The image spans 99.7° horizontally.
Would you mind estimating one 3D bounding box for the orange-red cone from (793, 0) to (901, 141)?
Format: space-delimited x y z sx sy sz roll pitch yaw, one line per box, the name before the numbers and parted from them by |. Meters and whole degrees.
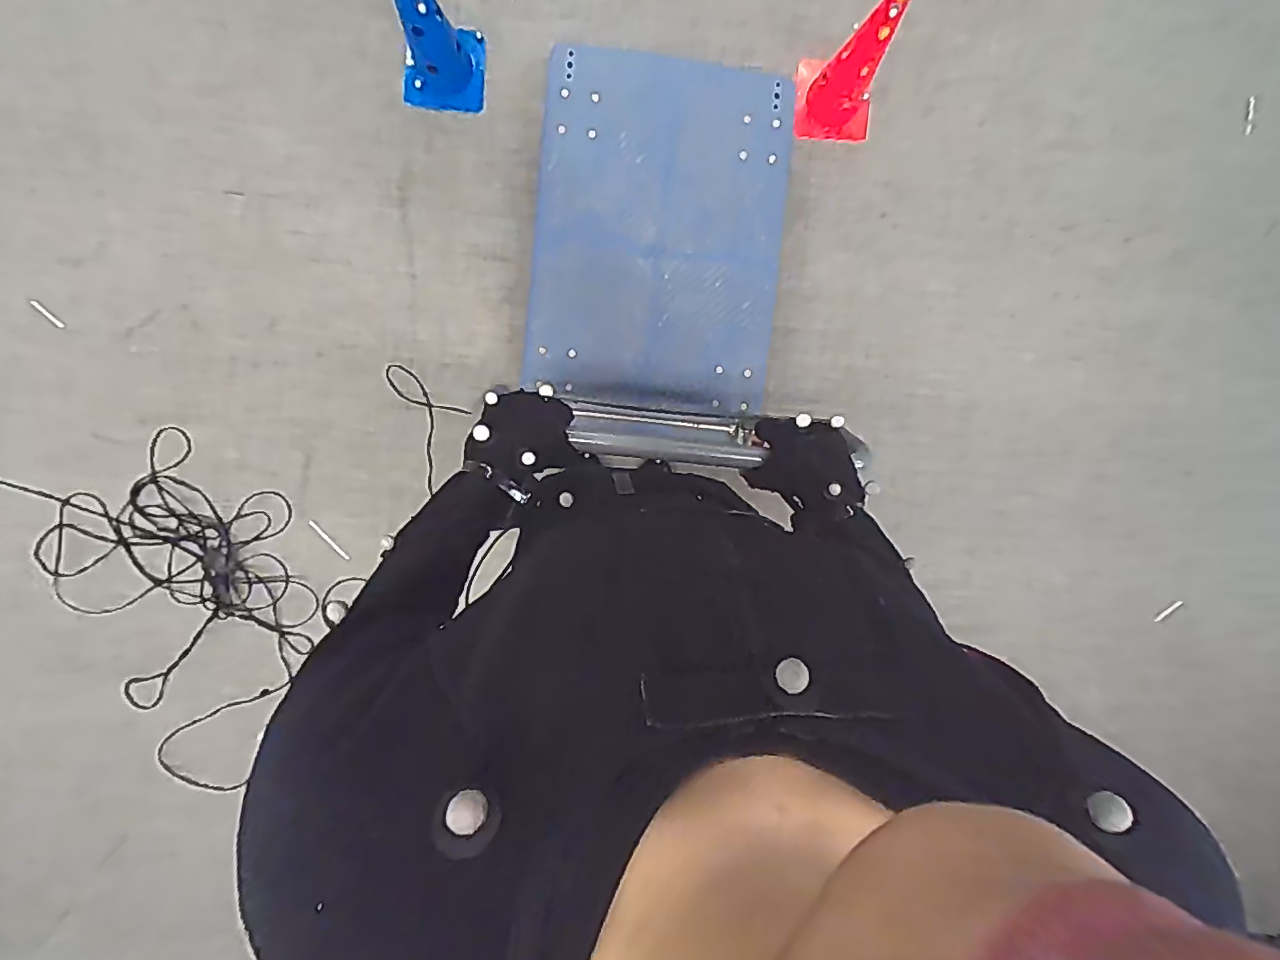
orange-red cone | 0.514 -1.001 1.270 0.199 0.360 0.198 3 93 -2
